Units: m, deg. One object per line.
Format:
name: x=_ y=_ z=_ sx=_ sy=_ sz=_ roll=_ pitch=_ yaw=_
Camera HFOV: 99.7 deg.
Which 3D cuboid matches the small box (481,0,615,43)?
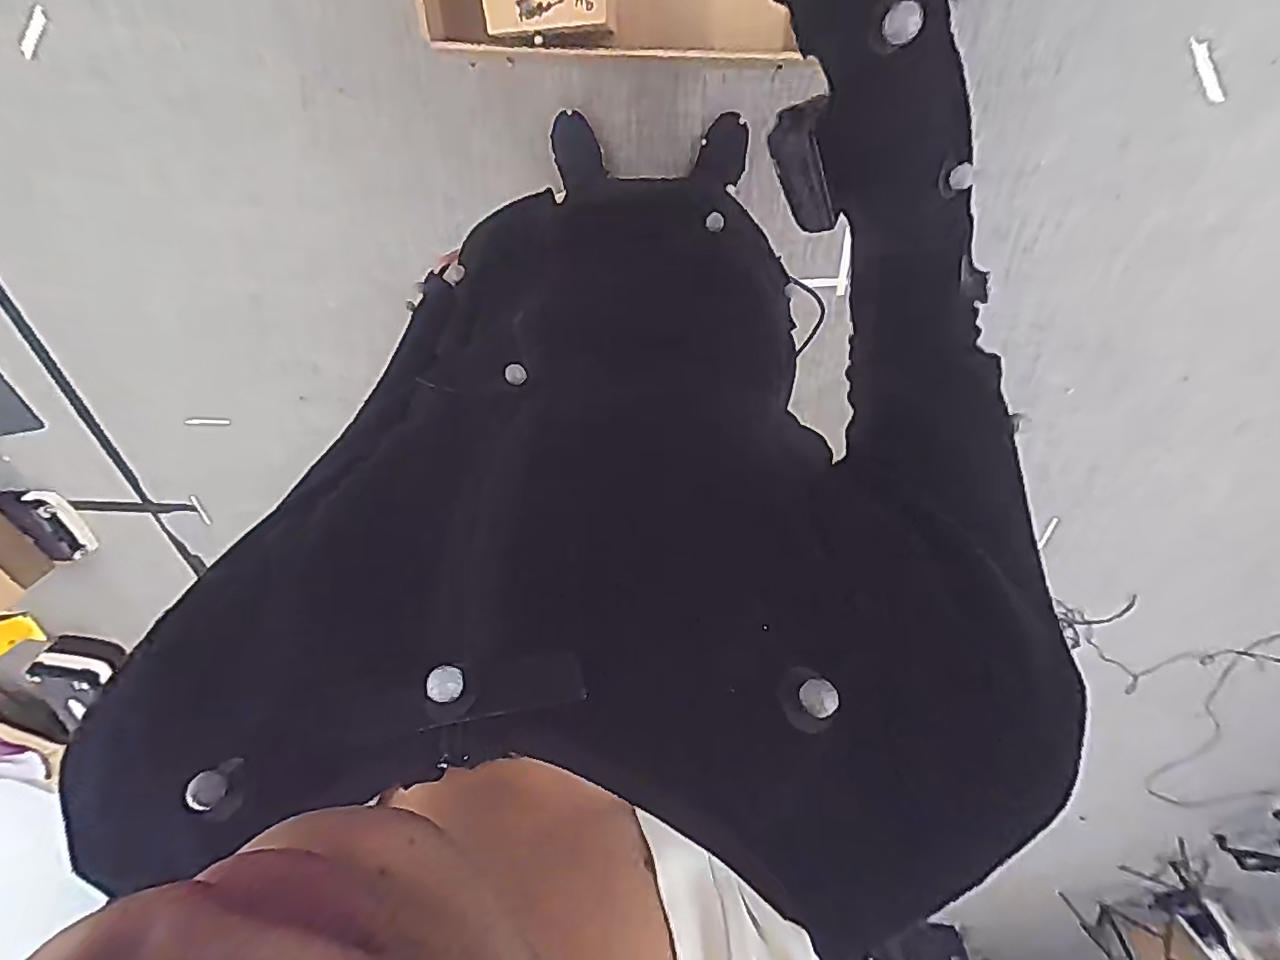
small box: x=-0.128 y=-0.726 z=0.742 sx=0.168 sy=0.176 sz=0.179 roll=-1 pitch=125 yaw=5
